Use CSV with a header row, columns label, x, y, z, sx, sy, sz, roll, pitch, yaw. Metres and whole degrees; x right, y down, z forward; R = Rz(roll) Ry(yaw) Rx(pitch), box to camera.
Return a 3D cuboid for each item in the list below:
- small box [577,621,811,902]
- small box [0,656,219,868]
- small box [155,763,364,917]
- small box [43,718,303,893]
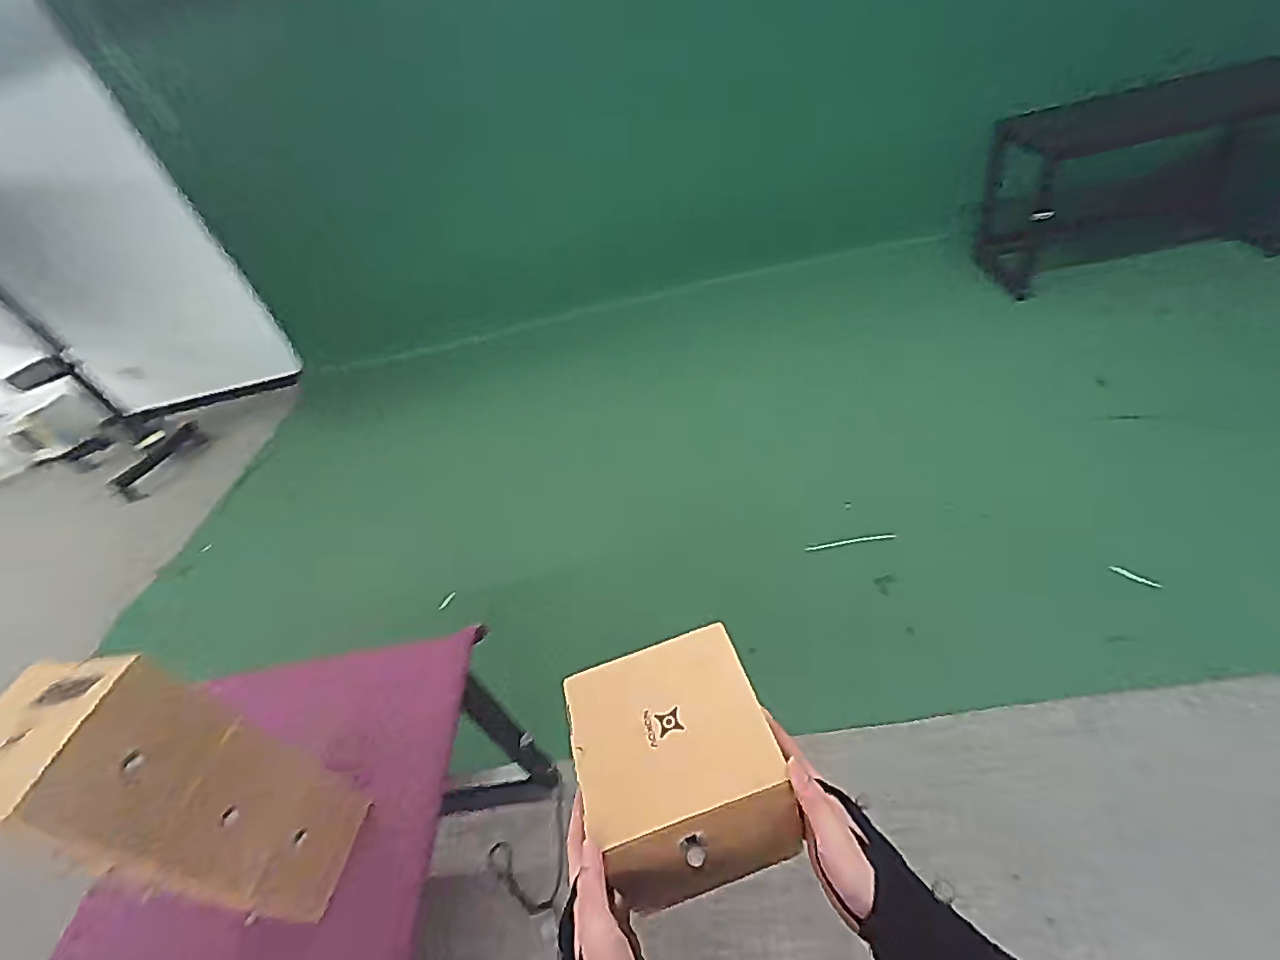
label,x,y,z,sx,sy,sz,roll,pitch,yaw
small box,0.053,0.276,0.534,0.179,0.176,0.168,-19,38,-1
small box,-0.653,0.329,0.634,0.168,0.176,0.179,-7,44,11
small box,-0.579,0.563,0.853,0.168,0.176,0.179,-4,44,14
small box,-0.614,0.447,0.743,0.168,0.176,0.179,-6,44,12
